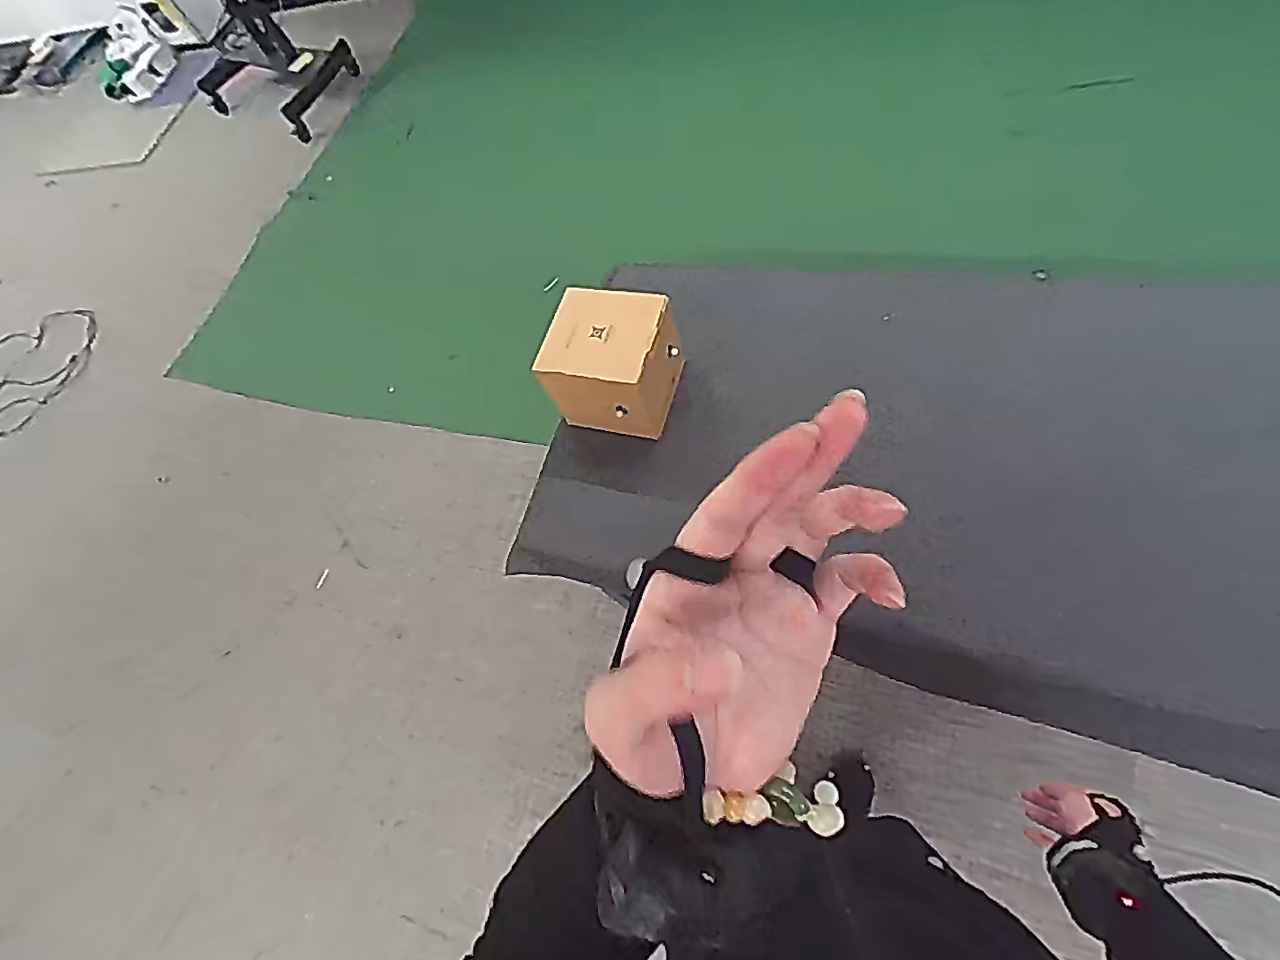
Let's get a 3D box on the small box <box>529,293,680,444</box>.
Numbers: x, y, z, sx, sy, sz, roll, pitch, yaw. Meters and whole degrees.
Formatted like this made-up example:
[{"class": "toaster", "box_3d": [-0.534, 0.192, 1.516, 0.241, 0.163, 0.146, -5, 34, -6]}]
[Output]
[{"class": "small box", "box_3d": [-0.045, -0.176, 0.884, 0.179, 0.176, 0.168, 13, 67, 20]}]
